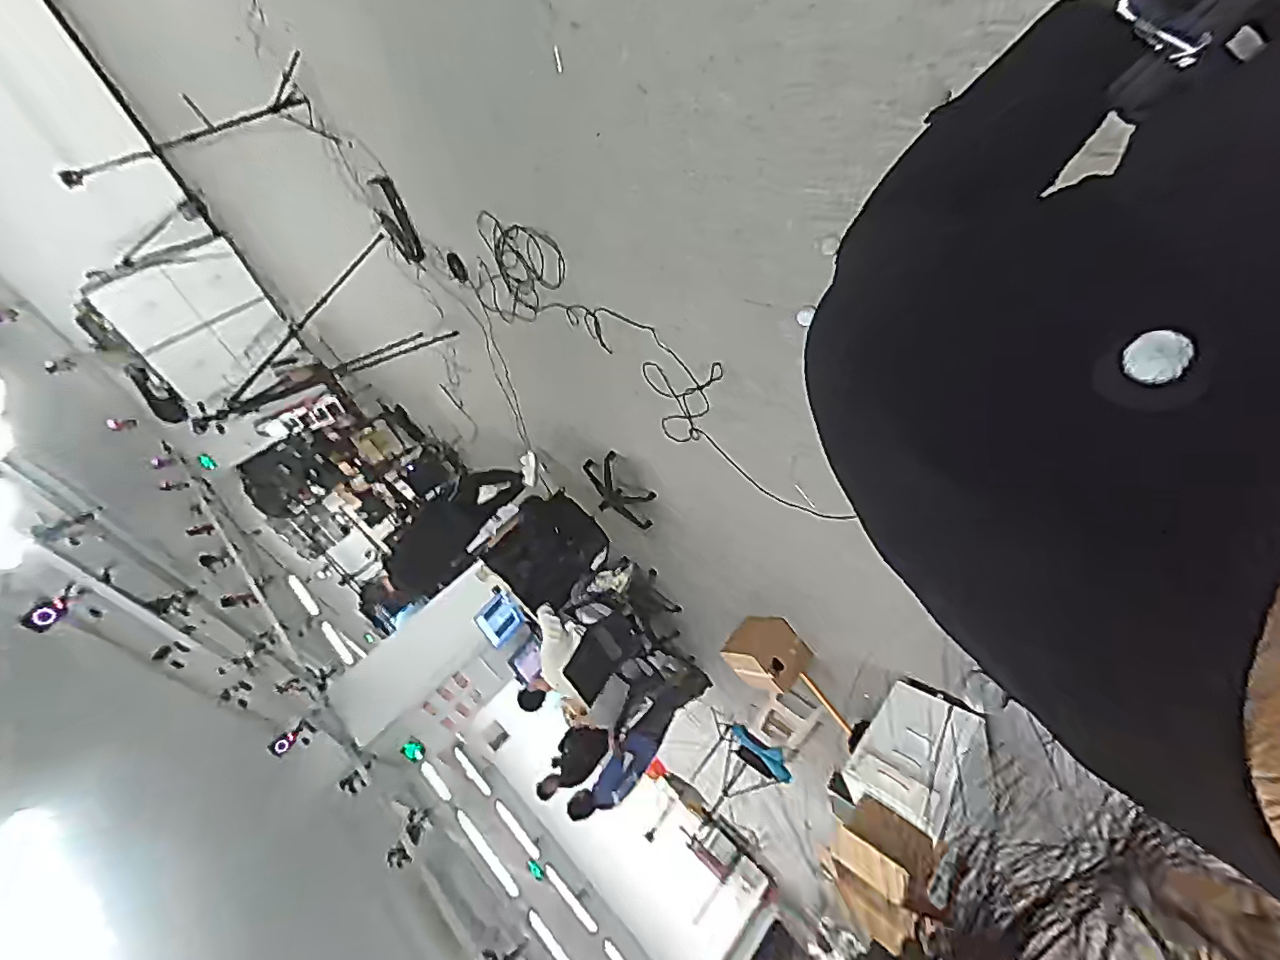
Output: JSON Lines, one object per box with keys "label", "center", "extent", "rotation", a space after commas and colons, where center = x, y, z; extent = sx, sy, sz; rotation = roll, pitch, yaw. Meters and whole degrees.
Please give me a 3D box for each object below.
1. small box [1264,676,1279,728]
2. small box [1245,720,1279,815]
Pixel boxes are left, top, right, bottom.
{"label": "small box", "center": [1.530, 0.512, 1.169], "extent": [0.179, 0.176, 0.168], "rotation": [29, 148, 36]}
{"label": "small box", "center": [1.417, 0.614, 1.107], "extent": [0.179, 0.176, 0.168], "rotation": [27, 147, 35]}
